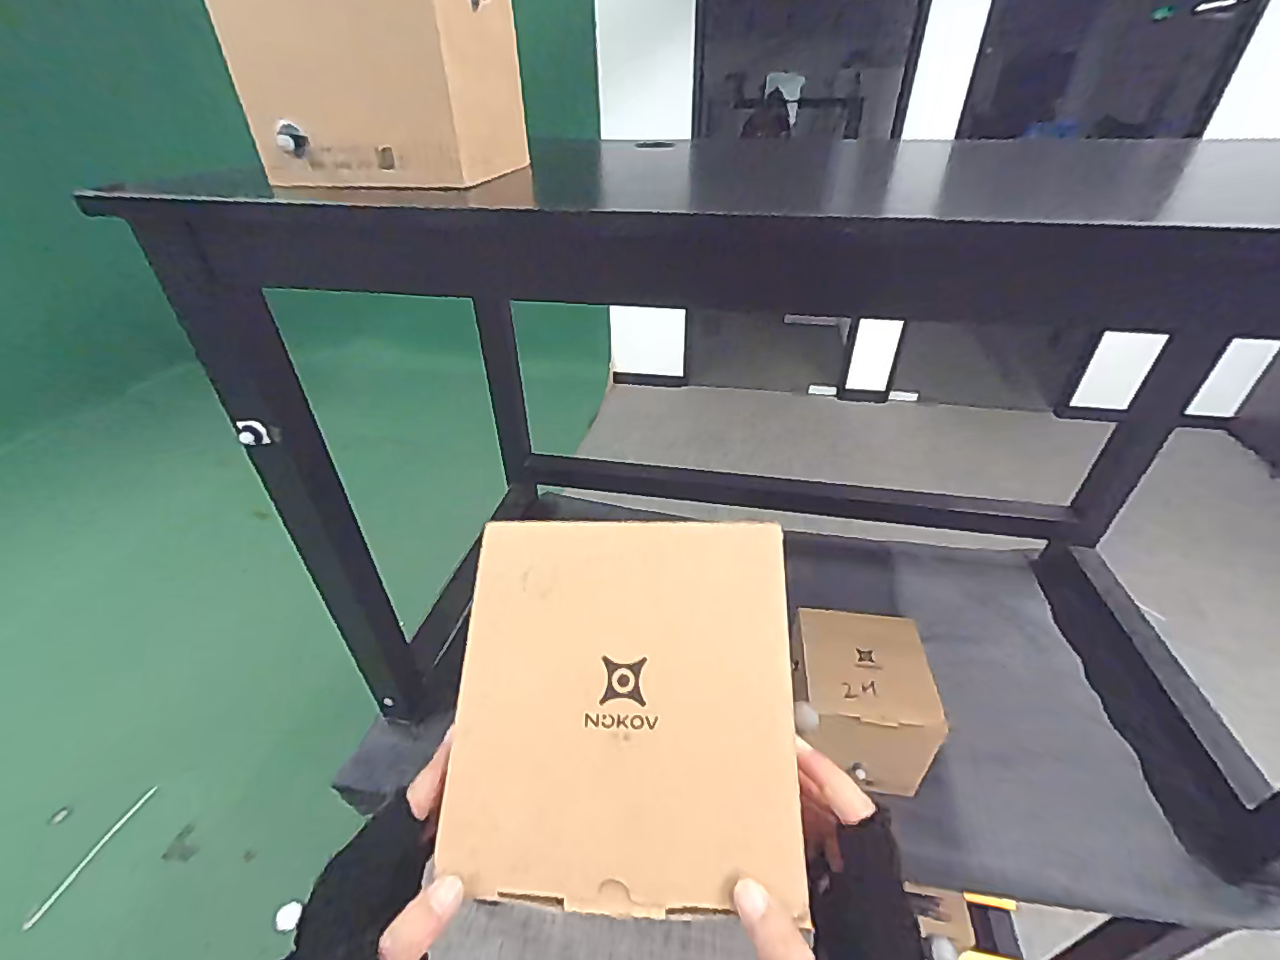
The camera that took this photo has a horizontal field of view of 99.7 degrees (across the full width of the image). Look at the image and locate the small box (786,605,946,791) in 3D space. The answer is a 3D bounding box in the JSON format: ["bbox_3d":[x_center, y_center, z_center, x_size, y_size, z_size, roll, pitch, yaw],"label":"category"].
[{"bbox_3d":[0.309,0.311,0.785,0.168,0.176,0.179,4,34,8],"label":"small box"}]

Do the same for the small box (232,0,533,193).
[{"bbox_3d":[-0.195,-0.345,0.455,0.168,0.176,0.179,4,35,5],"label":"small box"}]
